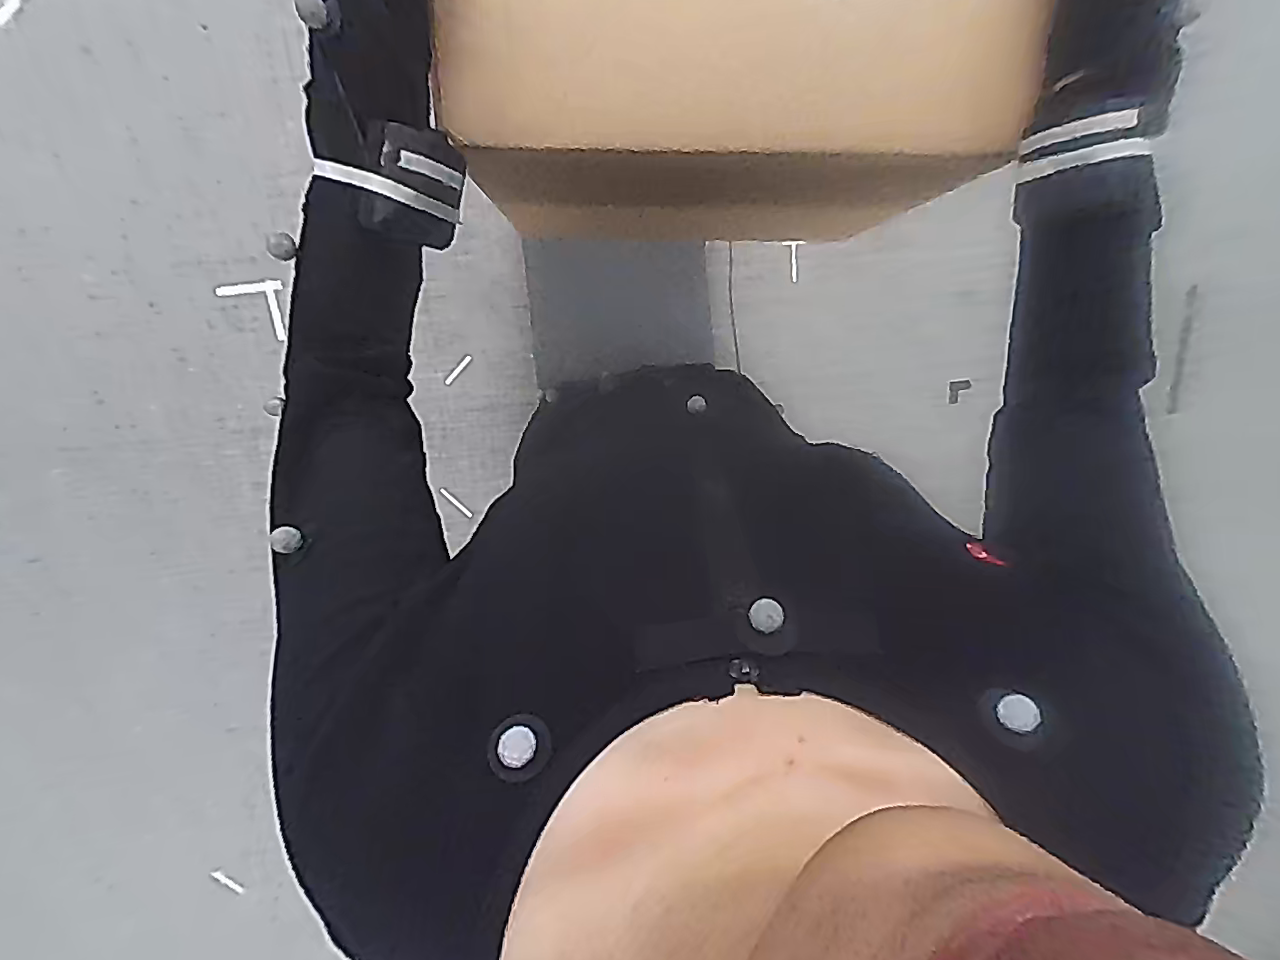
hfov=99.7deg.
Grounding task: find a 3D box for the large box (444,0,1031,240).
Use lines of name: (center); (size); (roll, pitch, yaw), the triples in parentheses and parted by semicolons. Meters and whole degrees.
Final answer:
large box: (0.059, -0.416, 0.491); (0.408, 0.320, 0.320); (-1, 104, -3)
